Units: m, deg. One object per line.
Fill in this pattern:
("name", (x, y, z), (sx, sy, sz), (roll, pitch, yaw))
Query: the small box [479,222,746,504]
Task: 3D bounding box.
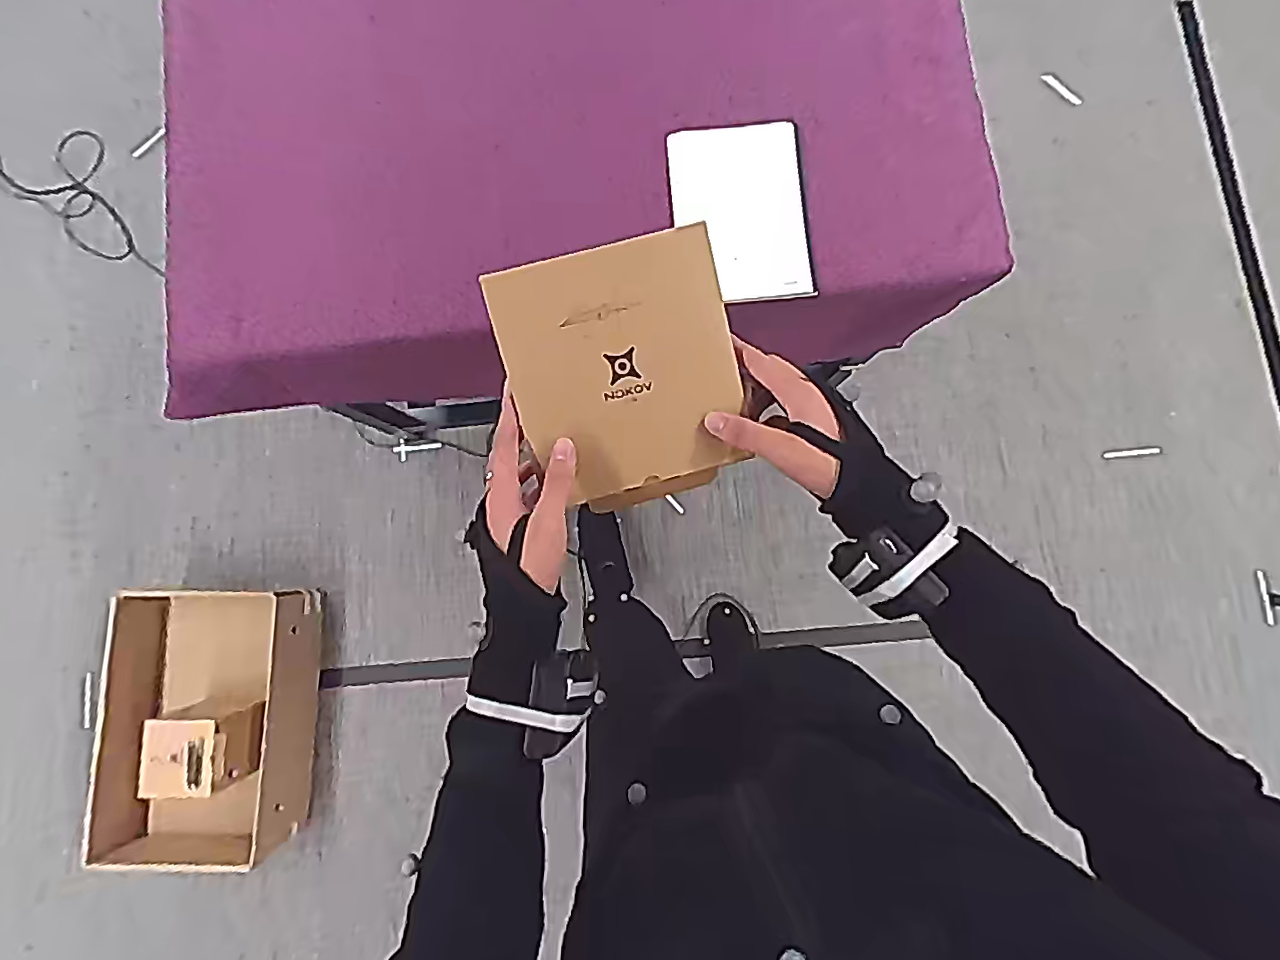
("small box", (-0.020, -0.095, 0.473), (0.168, 0.176, 0.179), (-14, 99, -2))
